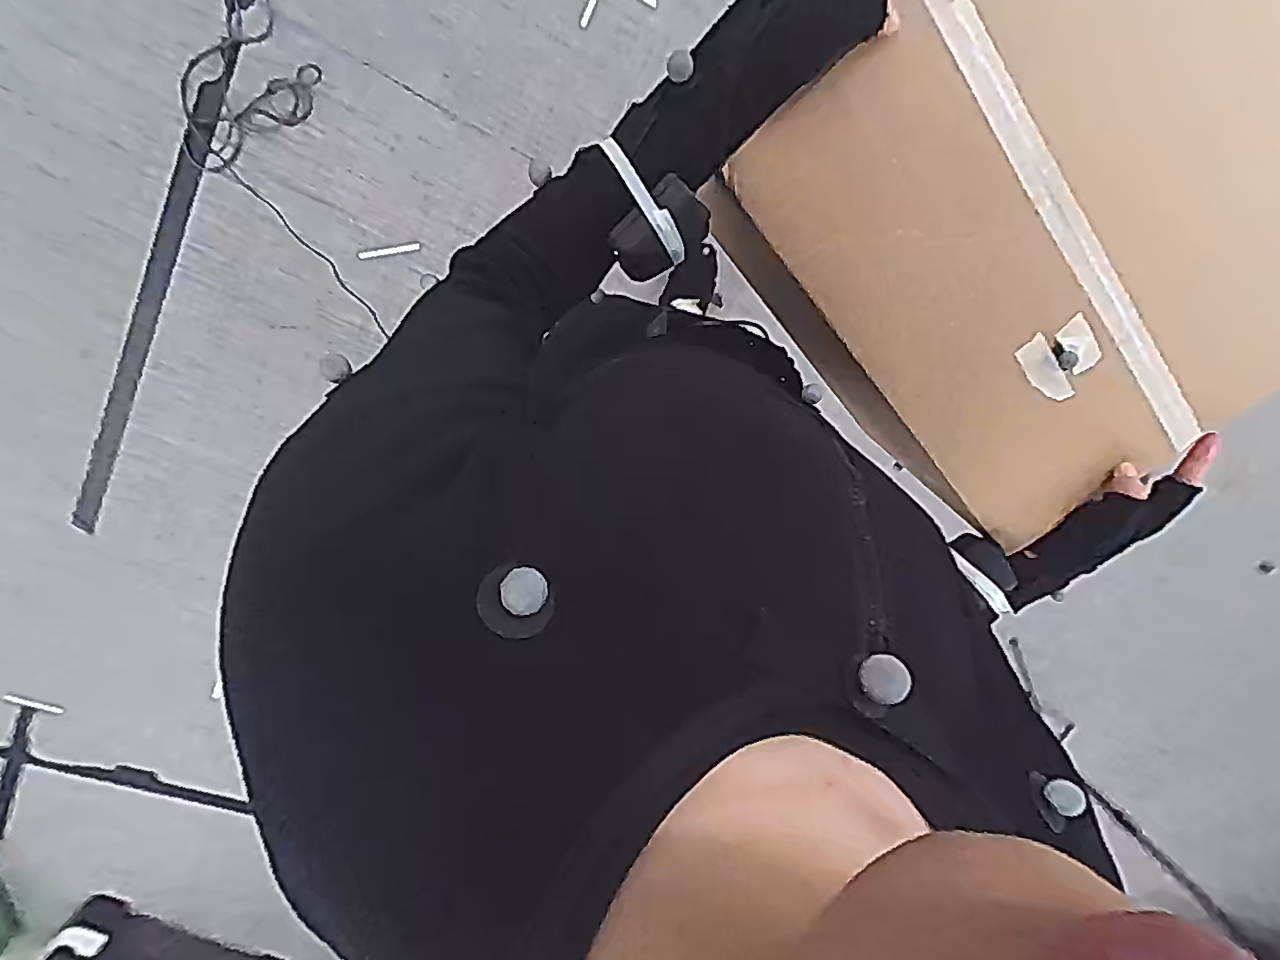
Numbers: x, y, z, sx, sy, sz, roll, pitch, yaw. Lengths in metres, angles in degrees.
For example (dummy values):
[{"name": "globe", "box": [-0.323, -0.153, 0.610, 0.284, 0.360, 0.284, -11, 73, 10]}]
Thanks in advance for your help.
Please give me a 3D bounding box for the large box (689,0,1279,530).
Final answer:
[{"name": "large box", "box": [0.299, -0.239, 0.522, 0.320, 0.320, 0.408, -39, 109, 17]}]
